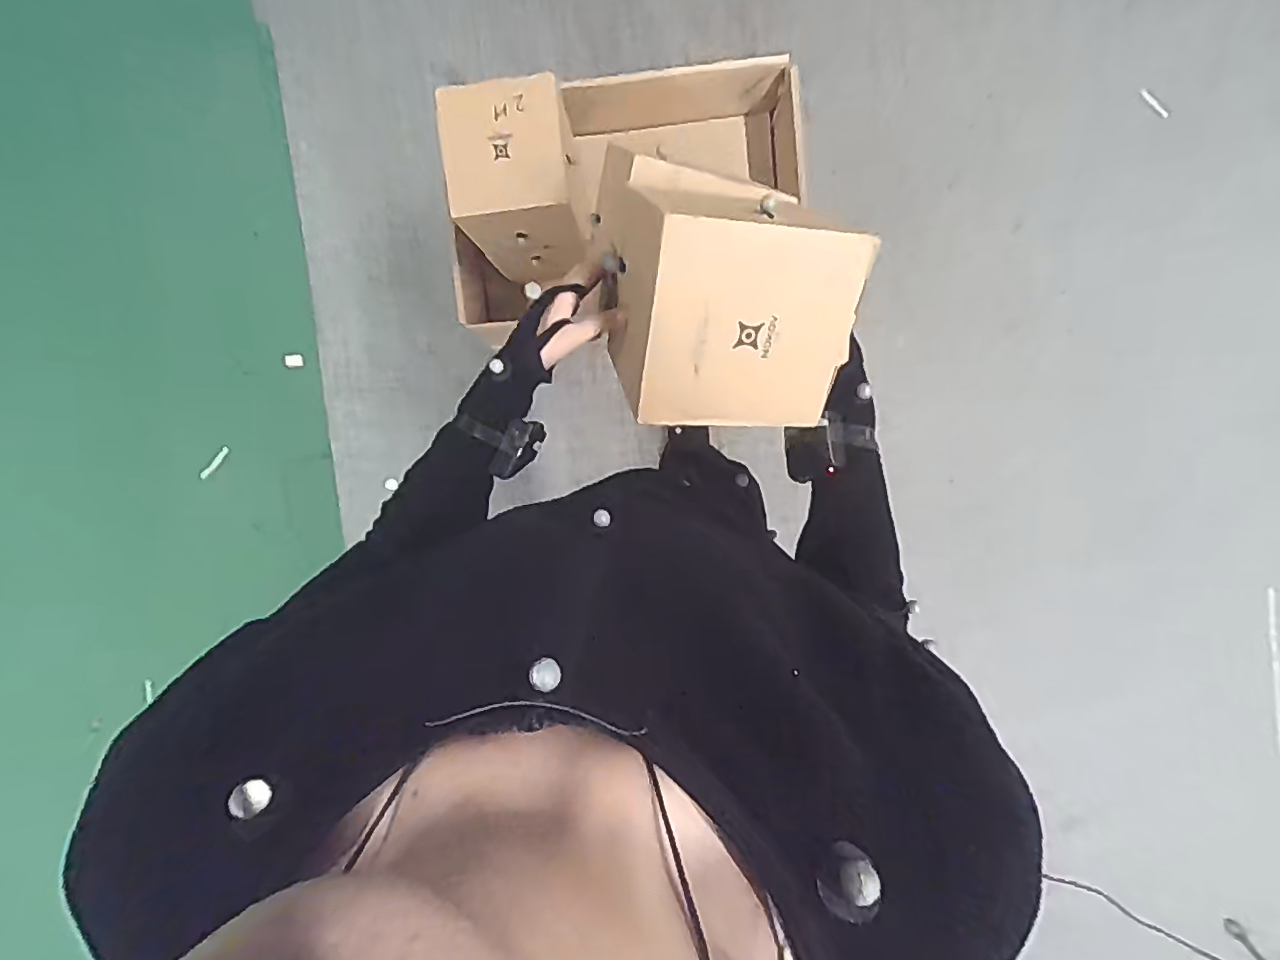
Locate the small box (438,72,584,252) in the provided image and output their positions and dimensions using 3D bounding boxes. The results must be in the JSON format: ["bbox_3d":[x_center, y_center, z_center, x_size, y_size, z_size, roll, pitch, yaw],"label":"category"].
[{"bbox_3d":[-0.181,-0.456,0.808,0.168,0.176,0.179,-5,93,3],"label":"small box"}]

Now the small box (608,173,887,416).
[{"bbox_3d":[0.075,-0.169,0.486,0.179,0.176,0.168,0,124,-12],"label":"small box"}]
